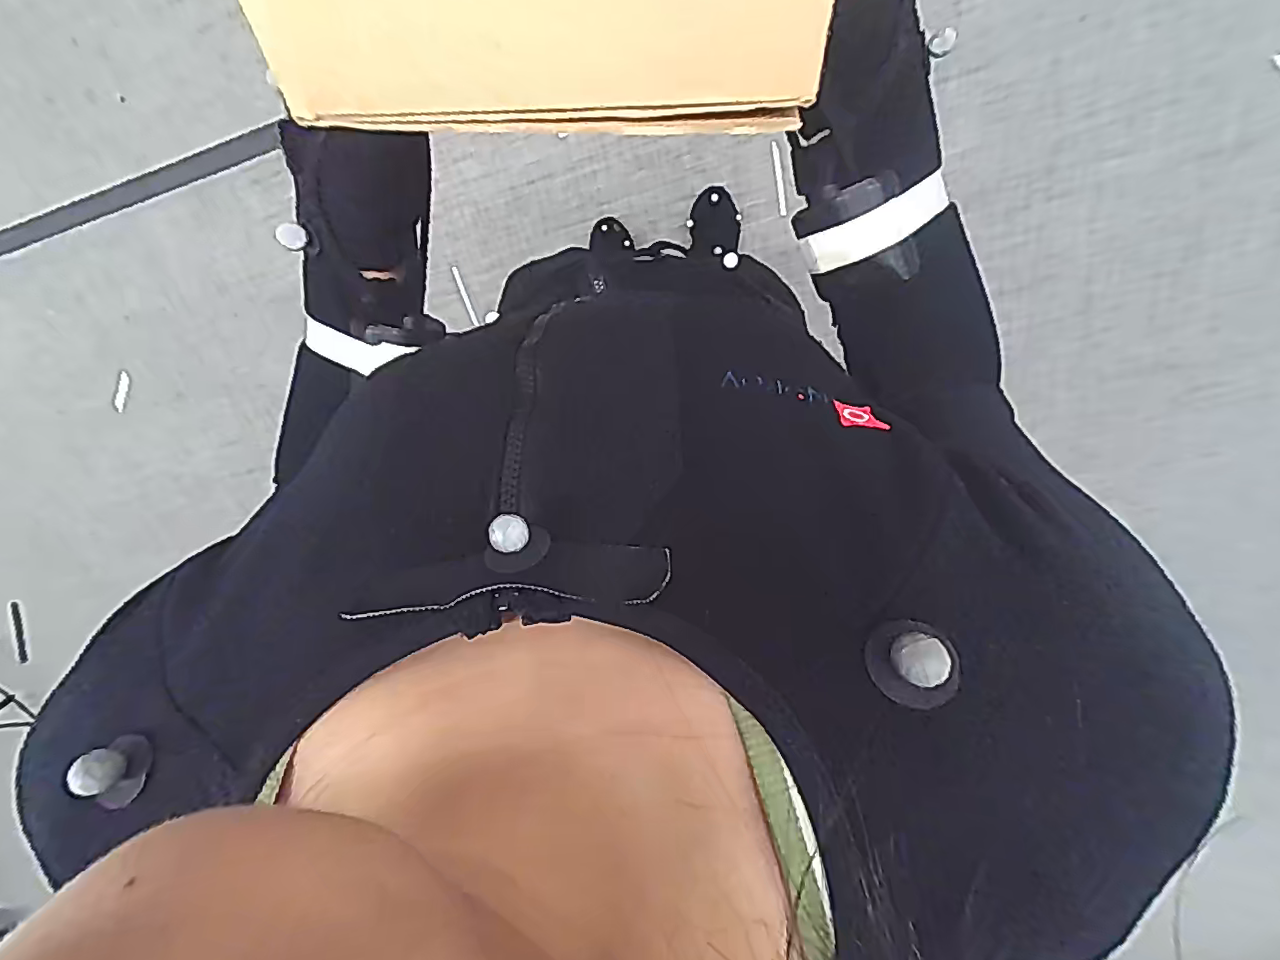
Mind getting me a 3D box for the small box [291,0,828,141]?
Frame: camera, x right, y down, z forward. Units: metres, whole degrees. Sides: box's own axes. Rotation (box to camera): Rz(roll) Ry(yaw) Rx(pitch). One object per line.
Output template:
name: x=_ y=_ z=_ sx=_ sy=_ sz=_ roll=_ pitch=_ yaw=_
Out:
small box: x=-0.029 y=-0.237 z=0.169 sx=0.179 sy=0.168 sz=0.176 roll=0 pitch=141 yaw=4
